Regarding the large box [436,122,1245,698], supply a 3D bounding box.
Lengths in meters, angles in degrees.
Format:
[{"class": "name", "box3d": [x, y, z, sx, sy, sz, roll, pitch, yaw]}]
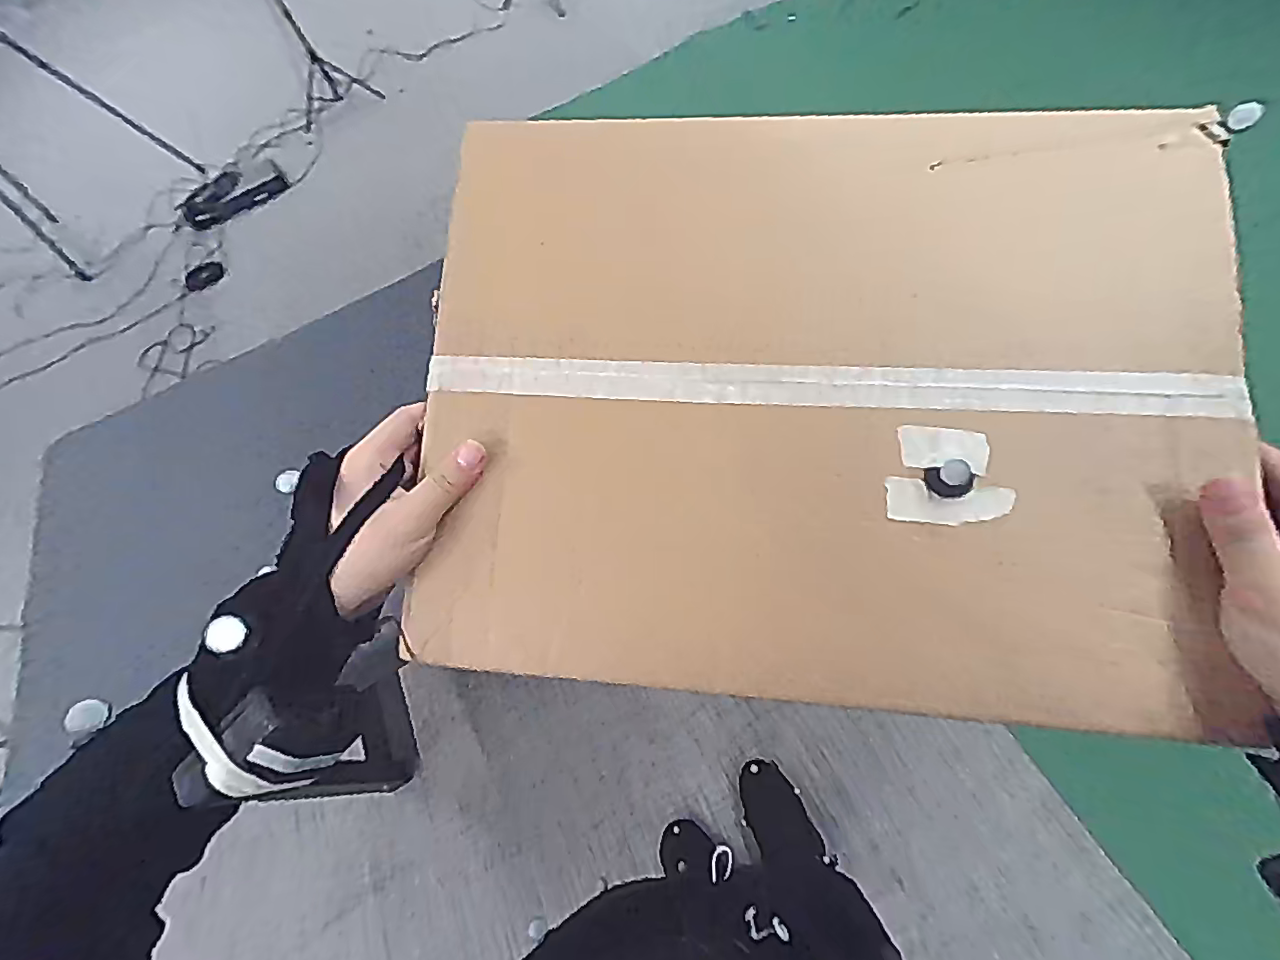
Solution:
[{"class": "large box", "box3d": [0.107, -0.032, 0.440, 0.408, 0.320, 0.320, 3, 82, 6]}]
